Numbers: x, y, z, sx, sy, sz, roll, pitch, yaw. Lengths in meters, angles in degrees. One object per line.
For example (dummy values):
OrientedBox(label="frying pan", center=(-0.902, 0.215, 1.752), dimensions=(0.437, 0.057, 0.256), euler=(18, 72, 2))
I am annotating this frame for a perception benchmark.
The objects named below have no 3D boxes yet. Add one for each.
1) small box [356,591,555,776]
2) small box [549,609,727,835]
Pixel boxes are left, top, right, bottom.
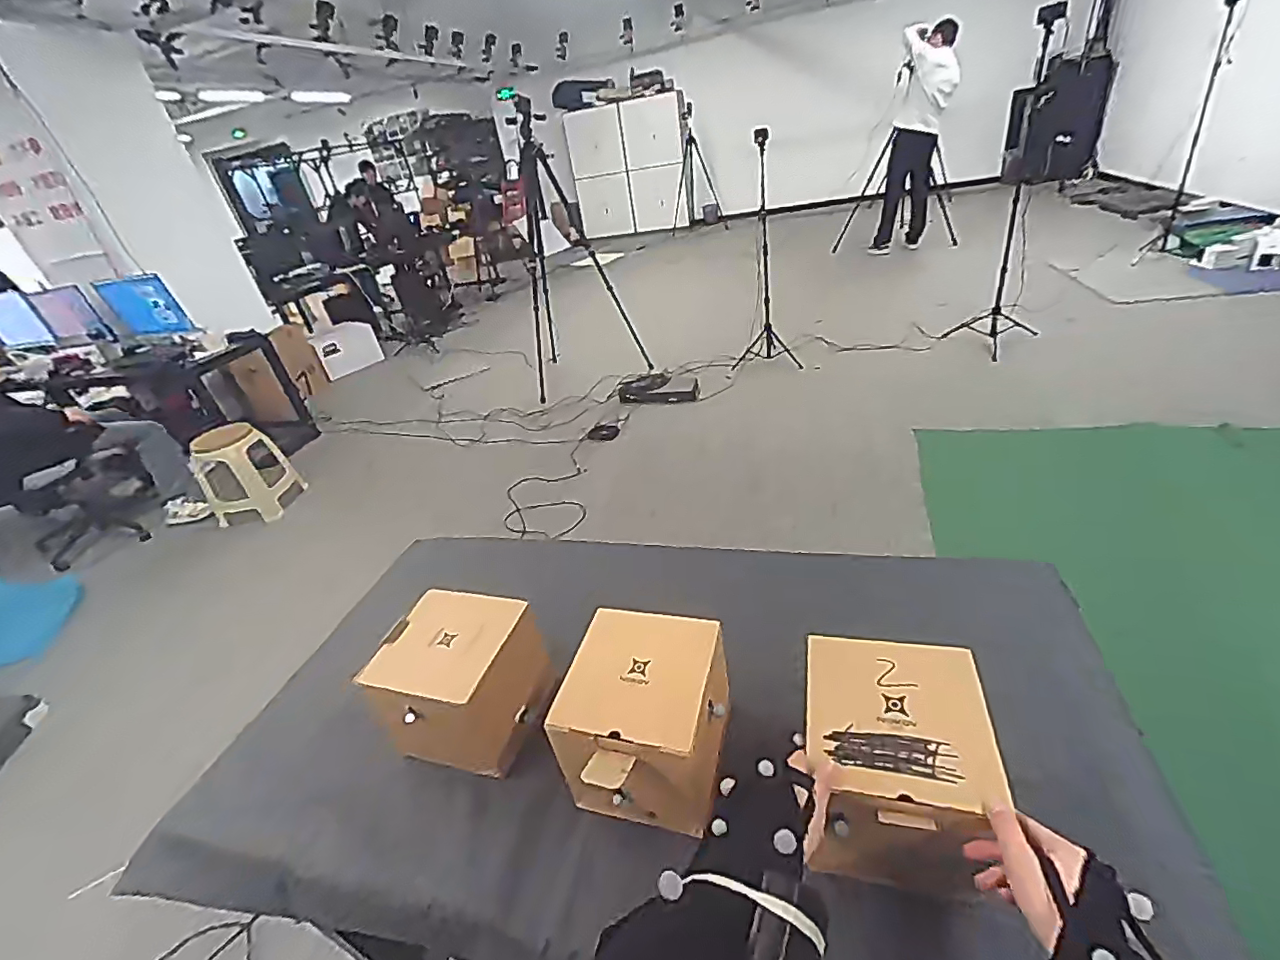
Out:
OrientedBox(label="small box", center=(-0.243, 0.280, 0.754), dimensions=(0.179, 0.176, 0.168), euler=(3, 35, 20))
OrientedBox(label="small box", center=(0.012, 0.289, 0.664), dimensions=(0.168, 0.176, 0.179), euler=(2, 34, 19))
